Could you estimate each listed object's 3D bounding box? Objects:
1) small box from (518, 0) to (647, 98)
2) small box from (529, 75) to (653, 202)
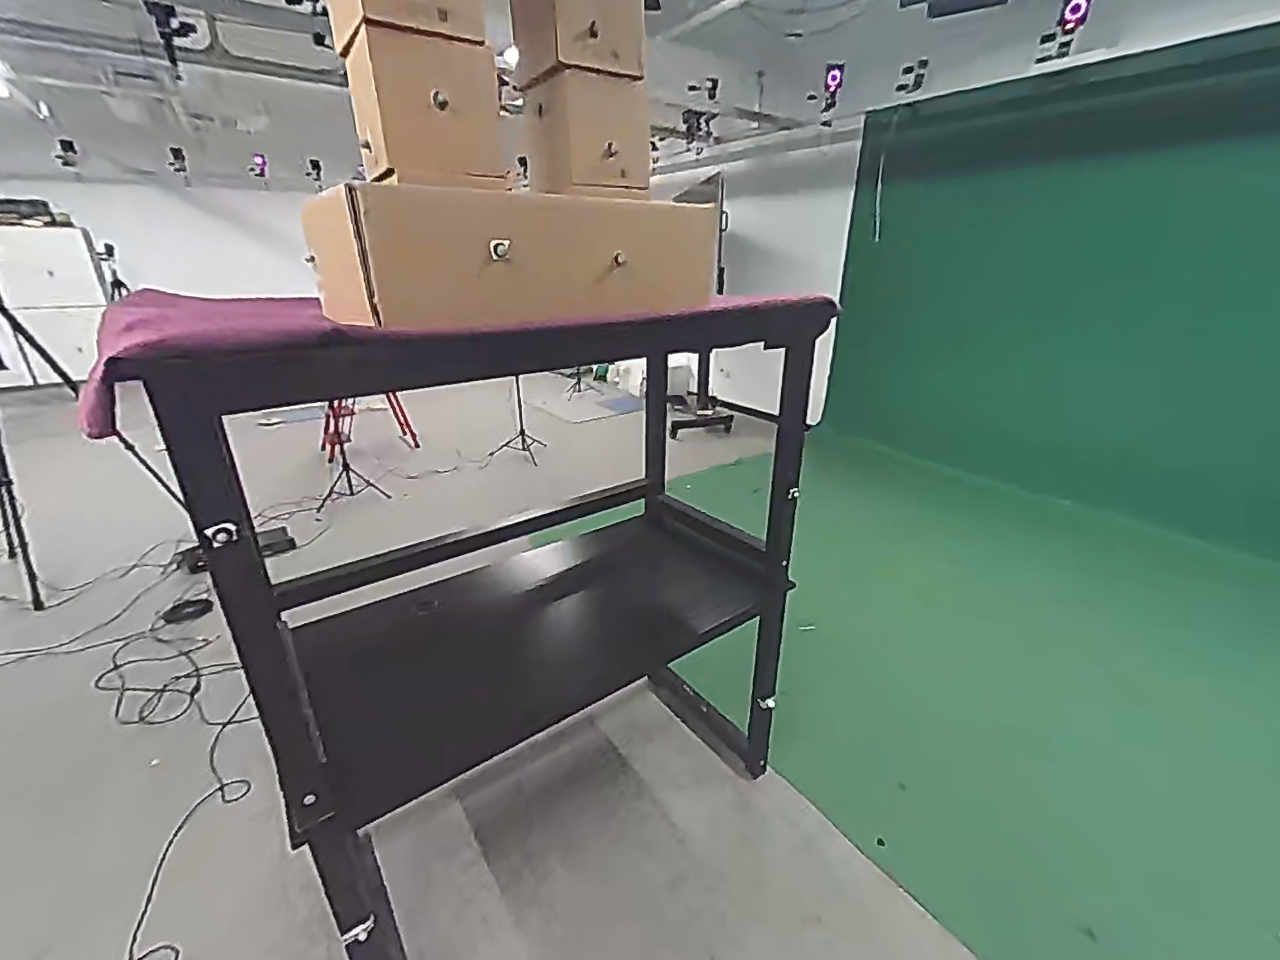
[{"bbox_3d":[-0.102,-0.758,0.924,0.168,0.176,0.179,-15,26,-30],"label":"small box"},{"bbox_3d":[-0.091,-0.612,0.996,0.168,0.176,0.179,-16,27,-31],"label":"small box"}]
